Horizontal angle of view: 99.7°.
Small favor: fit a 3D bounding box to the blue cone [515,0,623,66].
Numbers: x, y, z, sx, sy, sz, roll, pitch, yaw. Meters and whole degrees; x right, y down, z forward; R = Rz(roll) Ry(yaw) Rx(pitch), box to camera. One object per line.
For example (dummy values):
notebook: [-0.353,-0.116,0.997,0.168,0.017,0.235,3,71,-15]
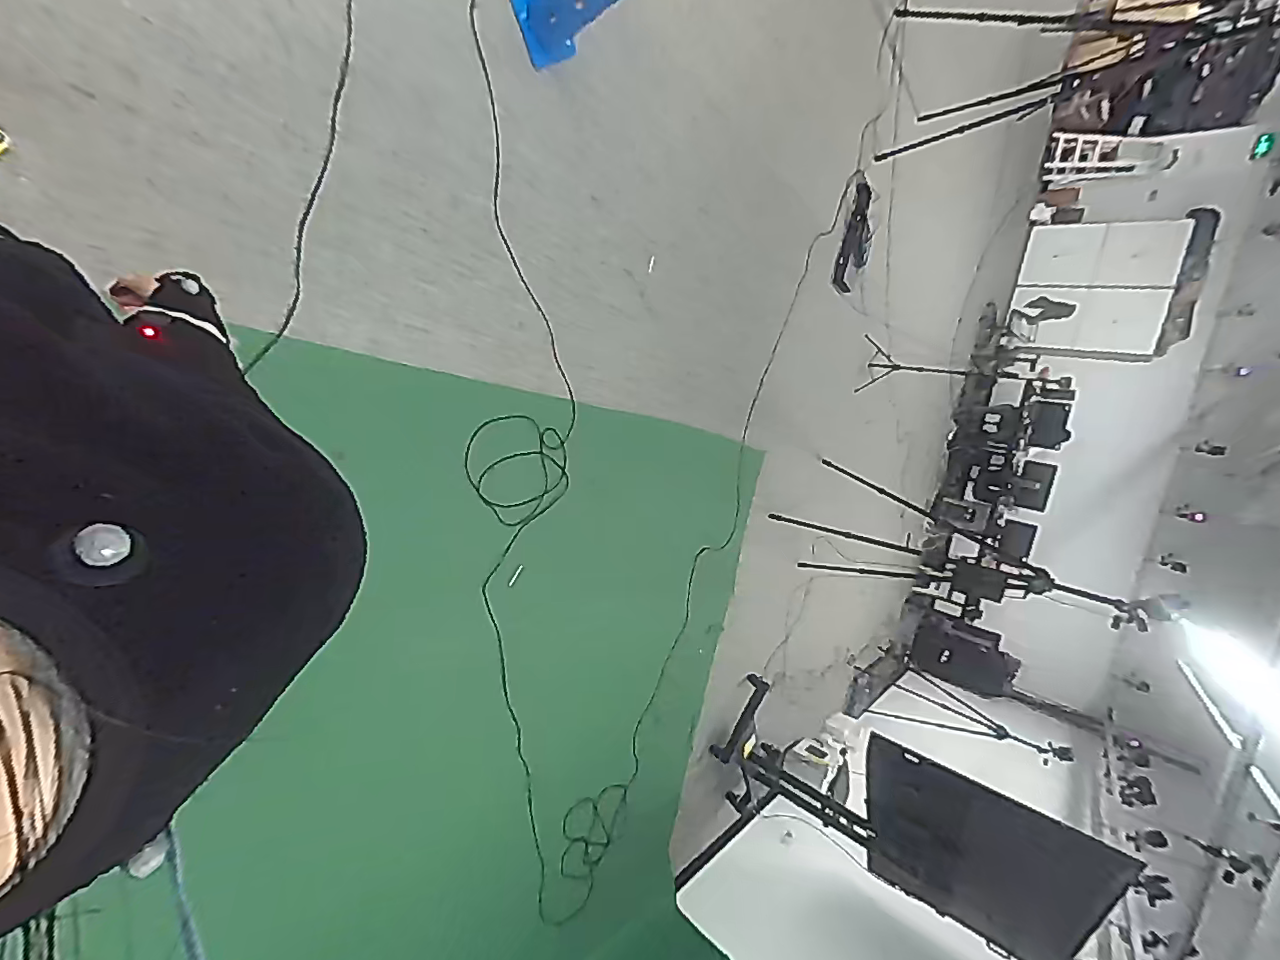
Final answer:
blue cone: [-0.156,-1.340,1.509,0.193,0.380,0.192,-51,135,-30]
